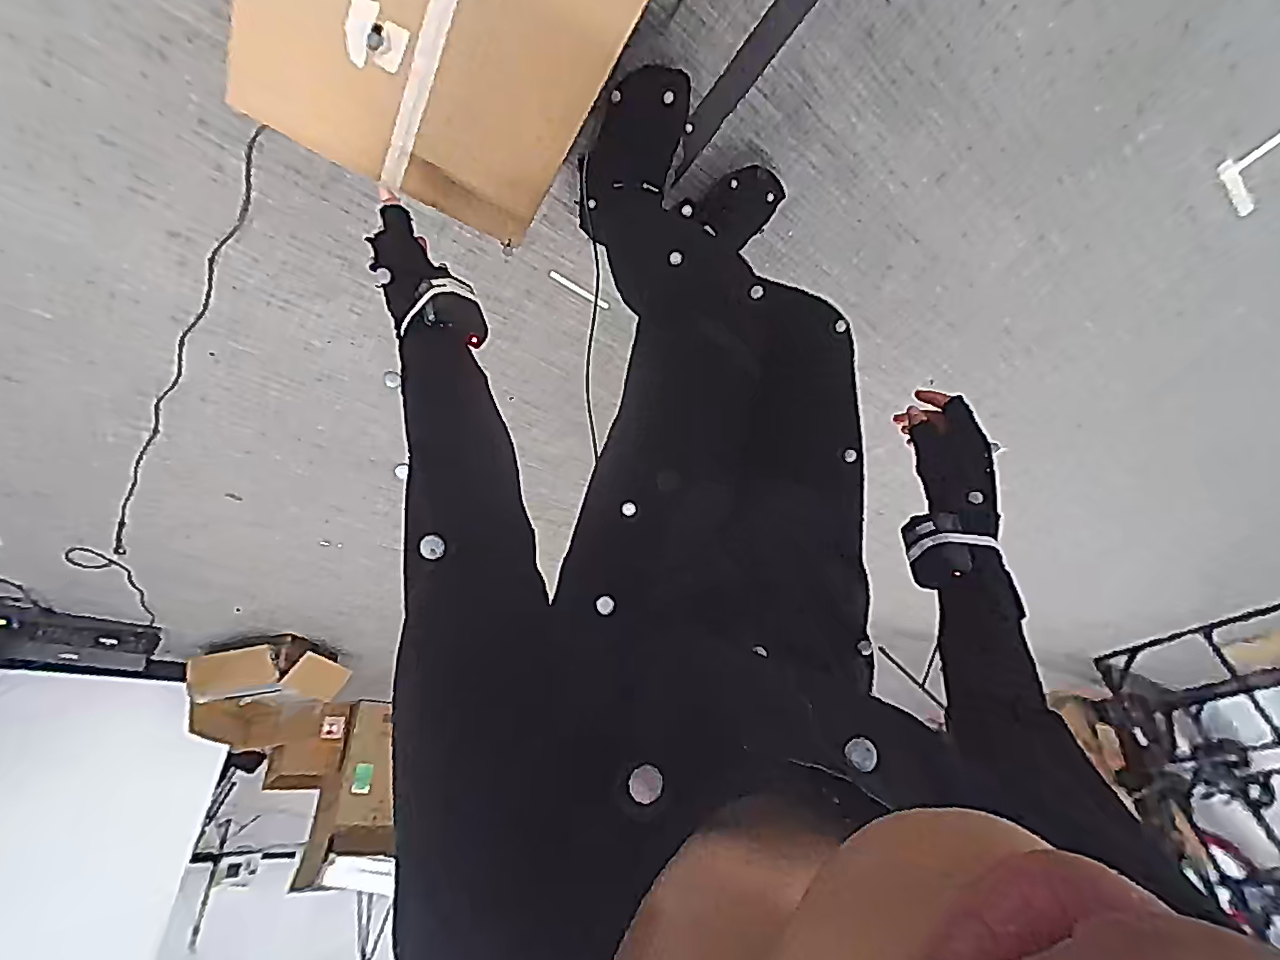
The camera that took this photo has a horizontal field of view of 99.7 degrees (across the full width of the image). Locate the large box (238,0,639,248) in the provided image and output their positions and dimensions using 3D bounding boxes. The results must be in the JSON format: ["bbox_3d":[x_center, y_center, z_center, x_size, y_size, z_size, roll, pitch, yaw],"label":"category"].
[{"bbox_3d":[-0.200,-0.567,0.593,0.320,0.320,0.408,18,139,-30],"label":"large box"}]
